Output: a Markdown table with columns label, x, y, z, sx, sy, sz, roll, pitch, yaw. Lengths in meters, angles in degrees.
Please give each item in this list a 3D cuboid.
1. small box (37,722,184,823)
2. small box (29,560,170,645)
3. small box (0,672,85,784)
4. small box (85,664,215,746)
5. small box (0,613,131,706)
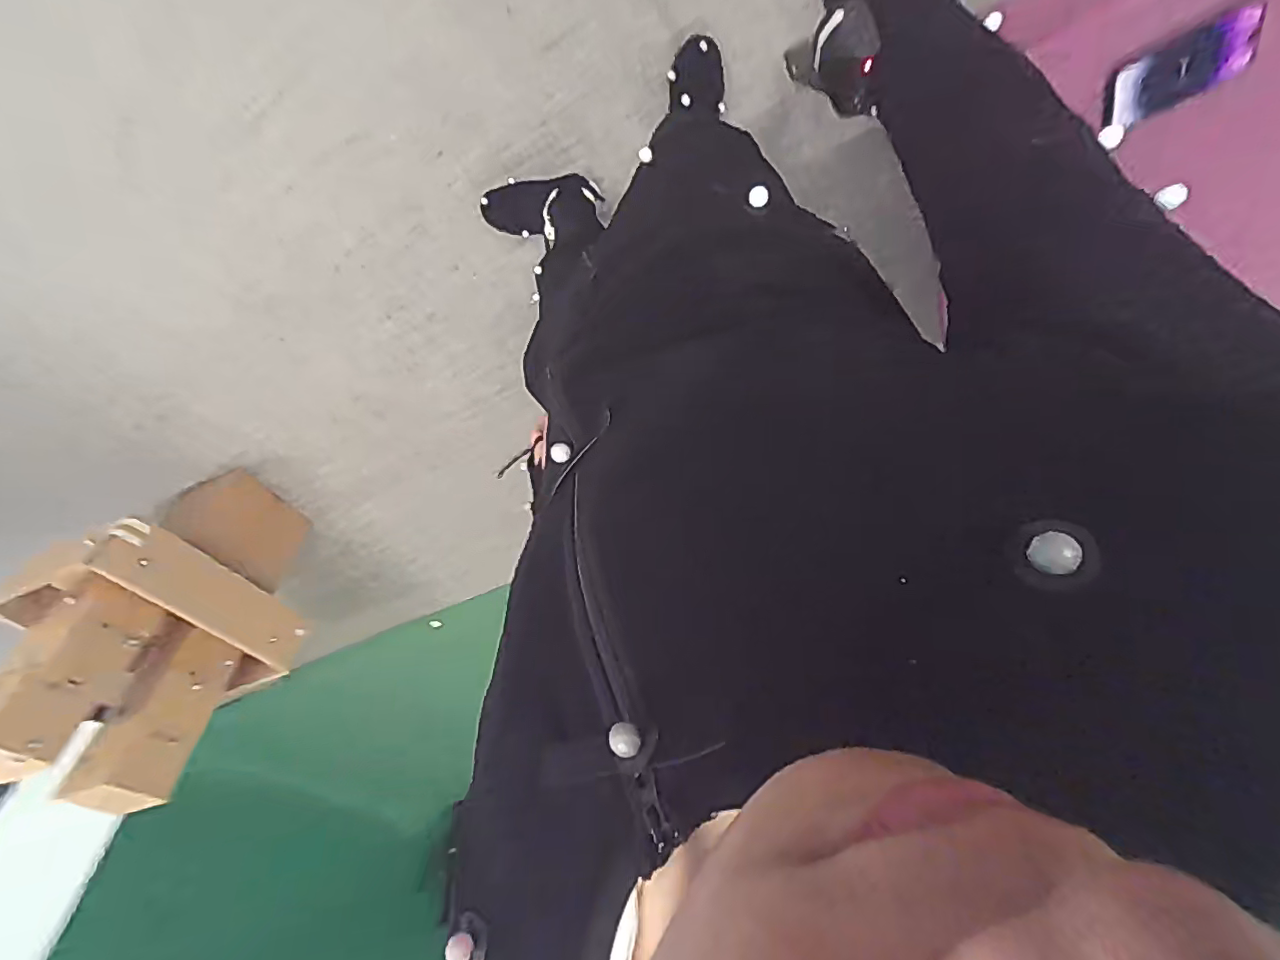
| label | x | y | z | sx | sy | sz | roll | pitch | yaw |
| --- | --- | --- | --- | --- | --- | --- | --- | --- | --- |
| small box | -1.335 | 0.746 | 1.381 | 0.179 | 0.176 | 0.168 | -19 | 132 | 11 |
| small box | -1.439 | 0.344 | 1.456 | 0.179 | 0.176 | 0.168 | -19 | 131 | 10 |
| small box | -1.423 | 0.555 | 1.204 | 0.179 | 0.176 | 0.168 | -18 | 131 | 10 |
| small box | -1.347 | 0.639 | 1.503 | 0.179 | 0.176 | 0.168 | -20 | 131 | 12 |
| small box | -1.426 | 0.452 | 1.333 | 0.179 | 0.176 | 0.168 | -18 | 131 | 10 |
